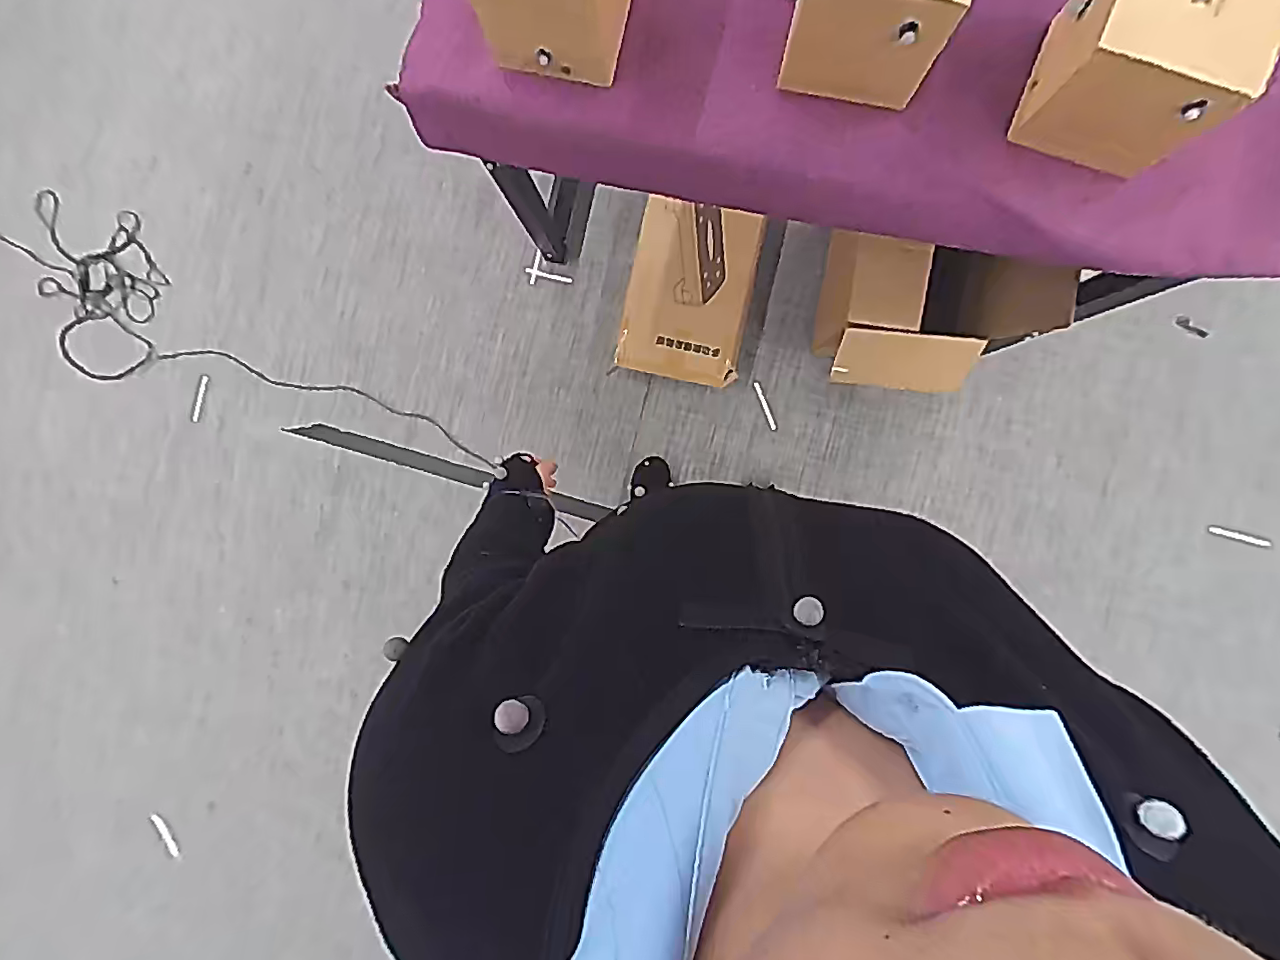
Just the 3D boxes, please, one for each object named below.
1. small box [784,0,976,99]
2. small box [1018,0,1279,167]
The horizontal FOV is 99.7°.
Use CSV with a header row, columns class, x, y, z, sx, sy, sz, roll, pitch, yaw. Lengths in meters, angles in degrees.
class,x,y,z,sx,sy,sz,roll,pitch,yaw
small box,0.290,-0.598,0.644,0.179,0.176,0.168,13,90,3
small box,0.594,-0.504,0.628,0.179,0.176,0.168,20,93,3
